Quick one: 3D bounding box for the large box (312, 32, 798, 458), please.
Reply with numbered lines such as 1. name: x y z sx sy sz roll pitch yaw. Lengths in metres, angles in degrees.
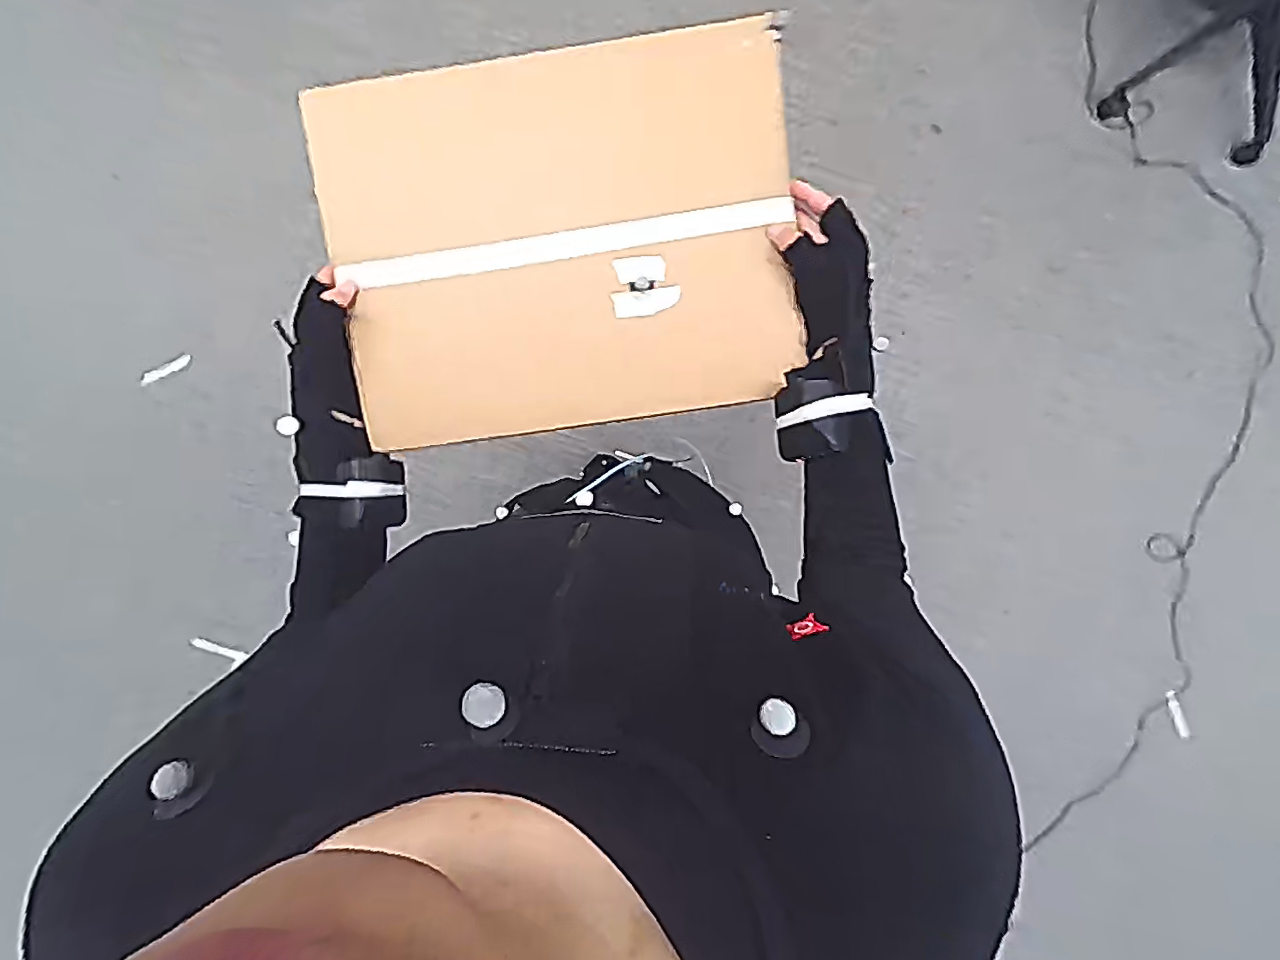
1. large box: -0.073 -0.222 0.638 0.408 0.320 0.320 -10 98 1
